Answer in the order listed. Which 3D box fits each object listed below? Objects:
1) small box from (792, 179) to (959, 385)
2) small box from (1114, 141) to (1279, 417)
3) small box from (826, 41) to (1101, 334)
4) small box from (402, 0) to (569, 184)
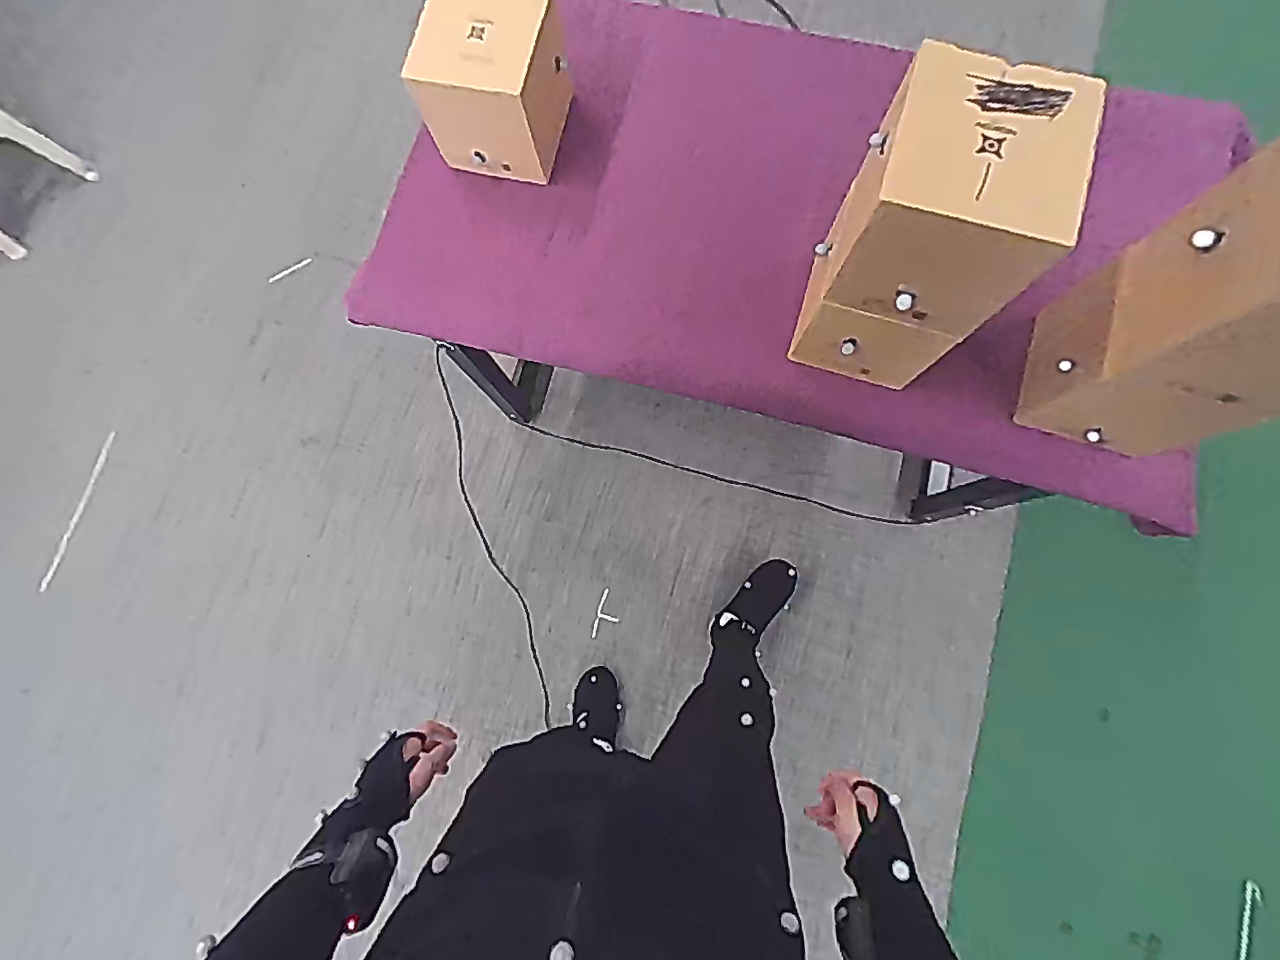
[{"bbox_3d":[0.311,-0.246,0.709,0.168,0.176,0.179,17,79,6],"label":"small box"},{"bbox_3d":[0.608,-0.184,0.514,0.168,0.176,0.179,18,80,7],"label":"small box"},{"bbox_3d":[0.307,-0.280,0.549,0.168,0.176,0.179,18,80,6],"label":"small box"},{"bbox_3d":[-0.210,-0.577,0.791,0.168,0.176,0.179,12,81,5],"label":"small box"}]
